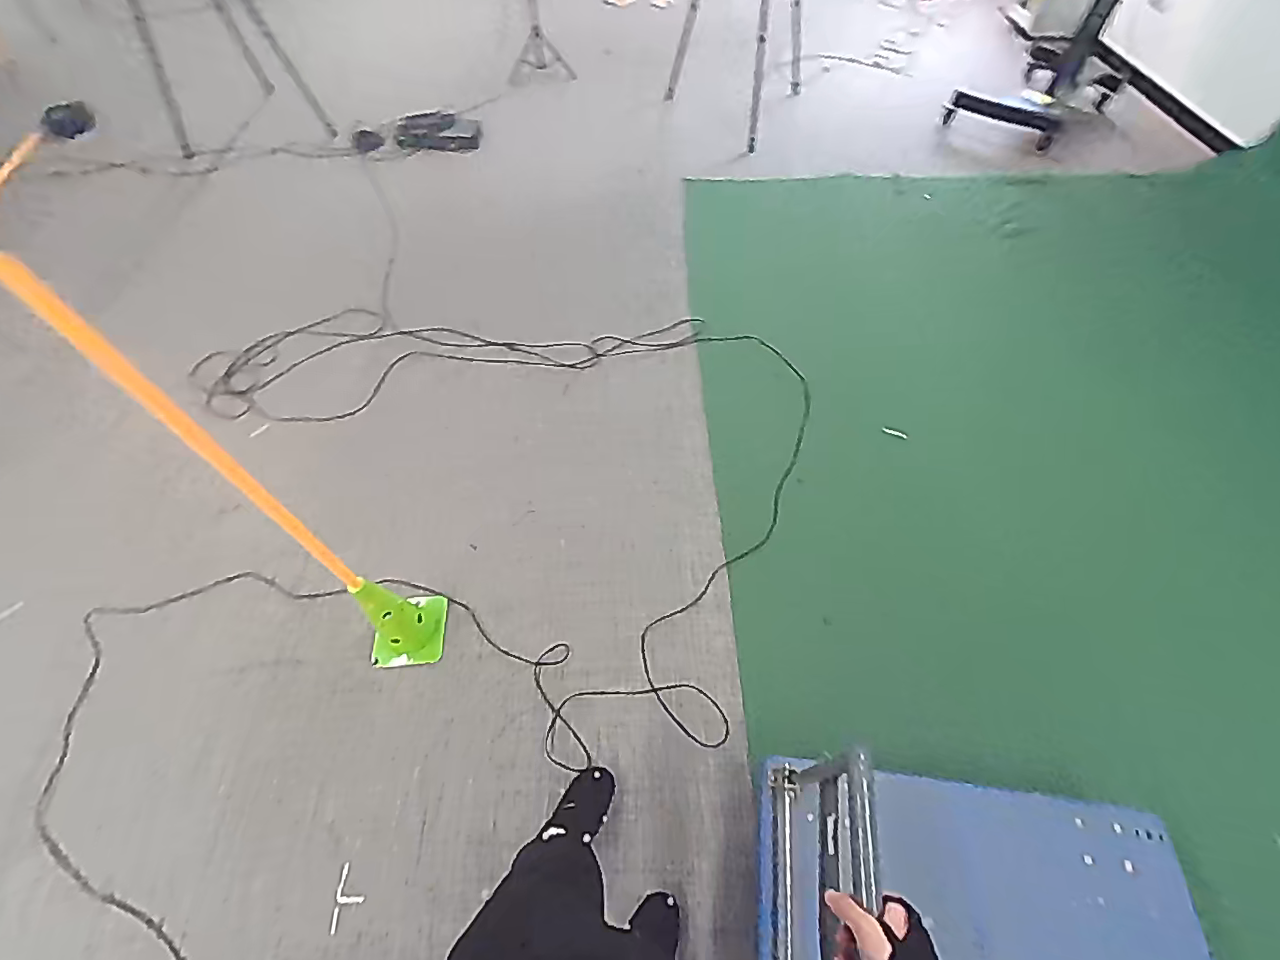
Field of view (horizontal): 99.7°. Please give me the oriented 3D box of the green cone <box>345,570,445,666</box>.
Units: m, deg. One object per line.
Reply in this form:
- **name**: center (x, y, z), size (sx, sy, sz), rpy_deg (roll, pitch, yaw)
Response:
- **green cone**: center (-0.680, 0.339, 1.436), size (0.200, 0.368, 0.202), rpy_deg (-5, 55, -3)
